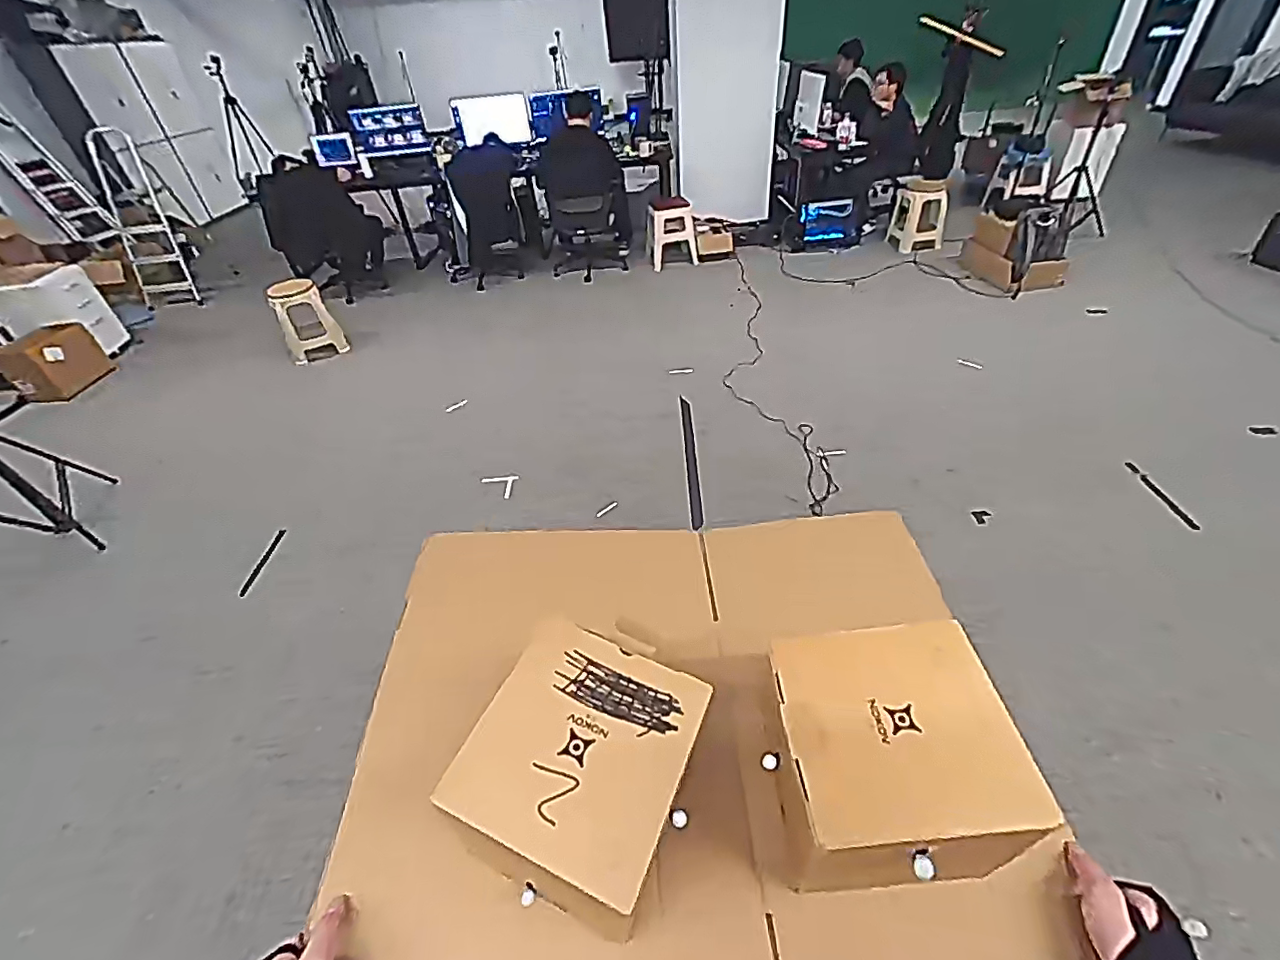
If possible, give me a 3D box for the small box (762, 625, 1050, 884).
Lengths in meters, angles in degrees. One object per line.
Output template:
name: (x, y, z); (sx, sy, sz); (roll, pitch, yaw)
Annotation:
small box: (0.219, 0.259, 0.508); (0.179, 0.176, 0.168); (-8, 44, 3)
